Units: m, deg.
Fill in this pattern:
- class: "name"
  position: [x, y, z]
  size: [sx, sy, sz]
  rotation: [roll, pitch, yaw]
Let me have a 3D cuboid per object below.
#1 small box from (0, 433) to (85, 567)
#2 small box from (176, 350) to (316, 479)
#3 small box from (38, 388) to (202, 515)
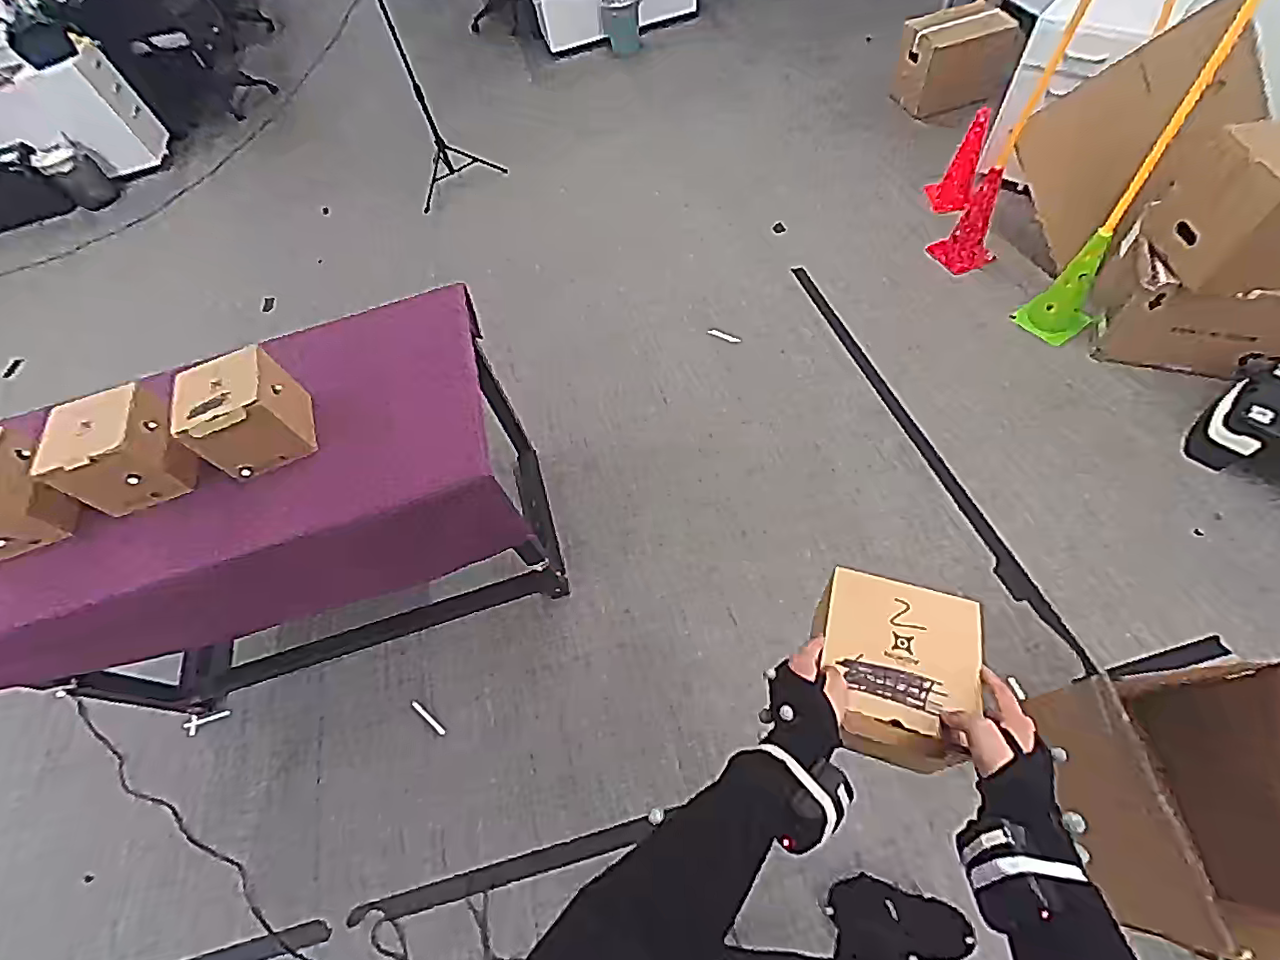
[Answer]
- class: "small box"
  position: [-1.265, 0.044, 1.074]
  size: [0.168, 0.176, 0.179]
  rotation: [-22, 59, -4]
- class: "small box"
  position: [-0.792, -0.124, 1.102]
  size: [0.168, 0.176, 0.179]
  rotation: [-25, 58, -6]
- class: "small box"
  position: [-1.033, -0.048, 1.096]
  size: [0.168, 0.176, 0.179]
  rotation: [-20, 58, -4]
